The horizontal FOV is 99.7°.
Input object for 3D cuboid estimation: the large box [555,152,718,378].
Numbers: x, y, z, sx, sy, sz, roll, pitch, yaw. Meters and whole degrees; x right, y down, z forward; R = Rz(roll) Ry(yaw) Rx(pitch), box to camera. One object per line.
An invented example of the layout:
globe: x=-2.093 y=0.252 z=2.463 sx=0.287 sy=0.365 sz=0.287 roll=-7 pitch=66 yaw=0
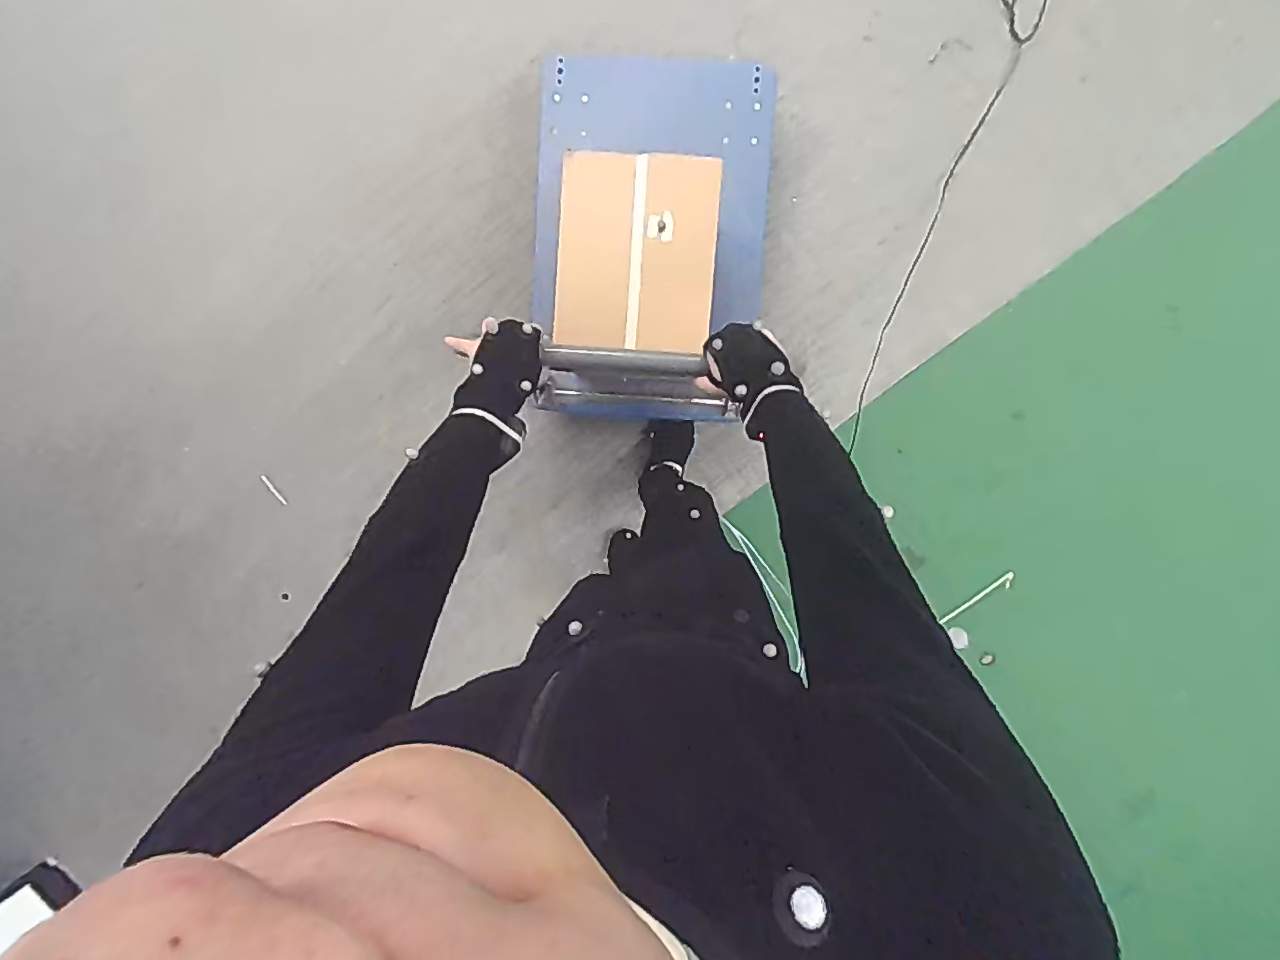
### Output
large box: x=-0.002 y=-0.457 z=1.234 sx=0.320 sy=0.320 sz=0.408 roll=4 pitch=94 yaw=2
